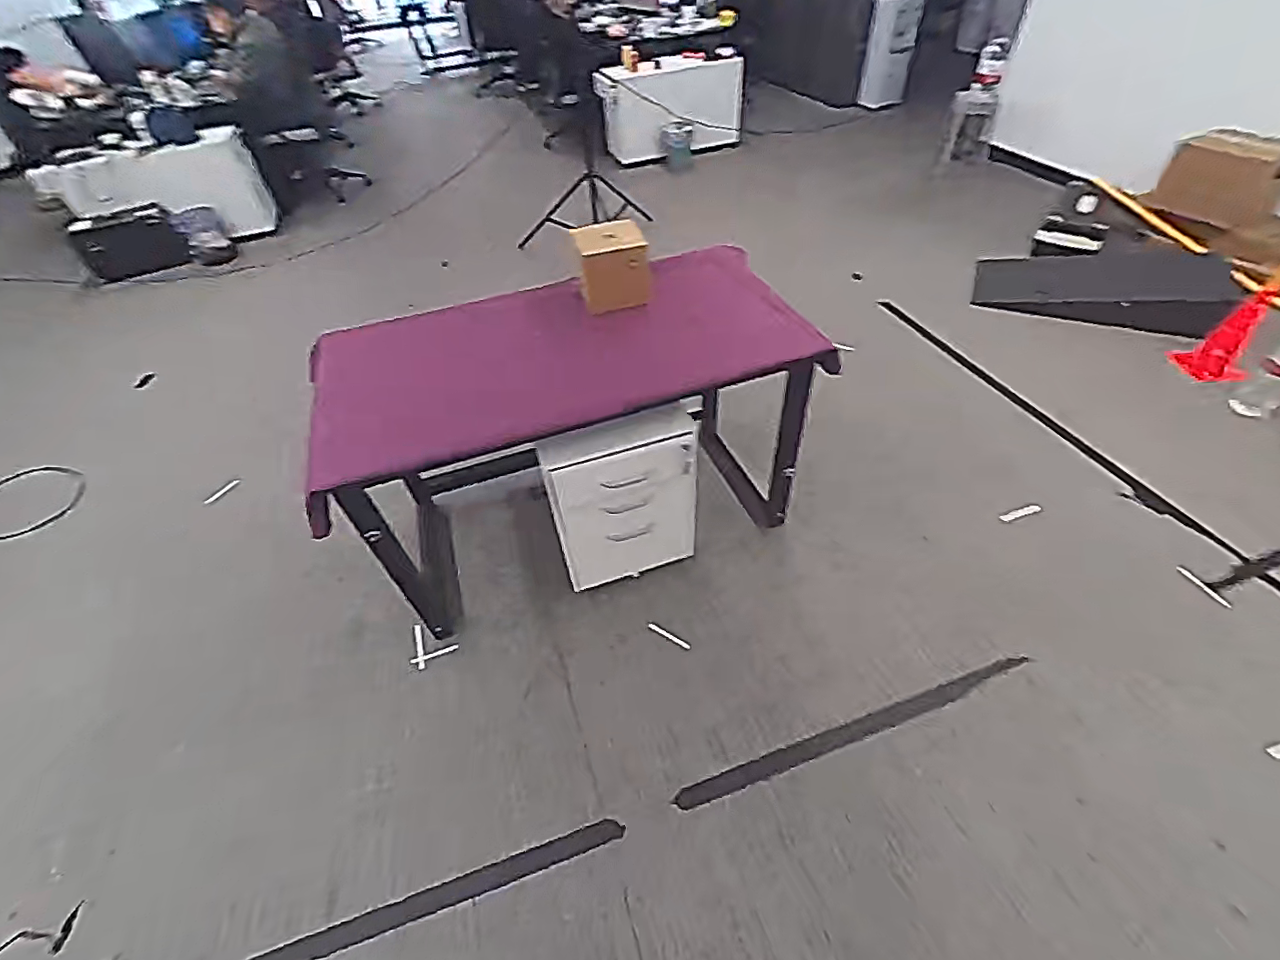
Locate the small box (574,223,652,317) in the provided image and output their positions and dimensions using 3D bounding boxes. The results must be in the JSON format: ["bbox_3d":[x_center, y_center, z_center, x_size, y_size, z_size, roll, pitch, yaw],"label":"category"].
[{"bbox_3d":[-0.070,-0.572,1.478,0.179,0.176,0.168,-14,48,-8],"label":"small box"}]
